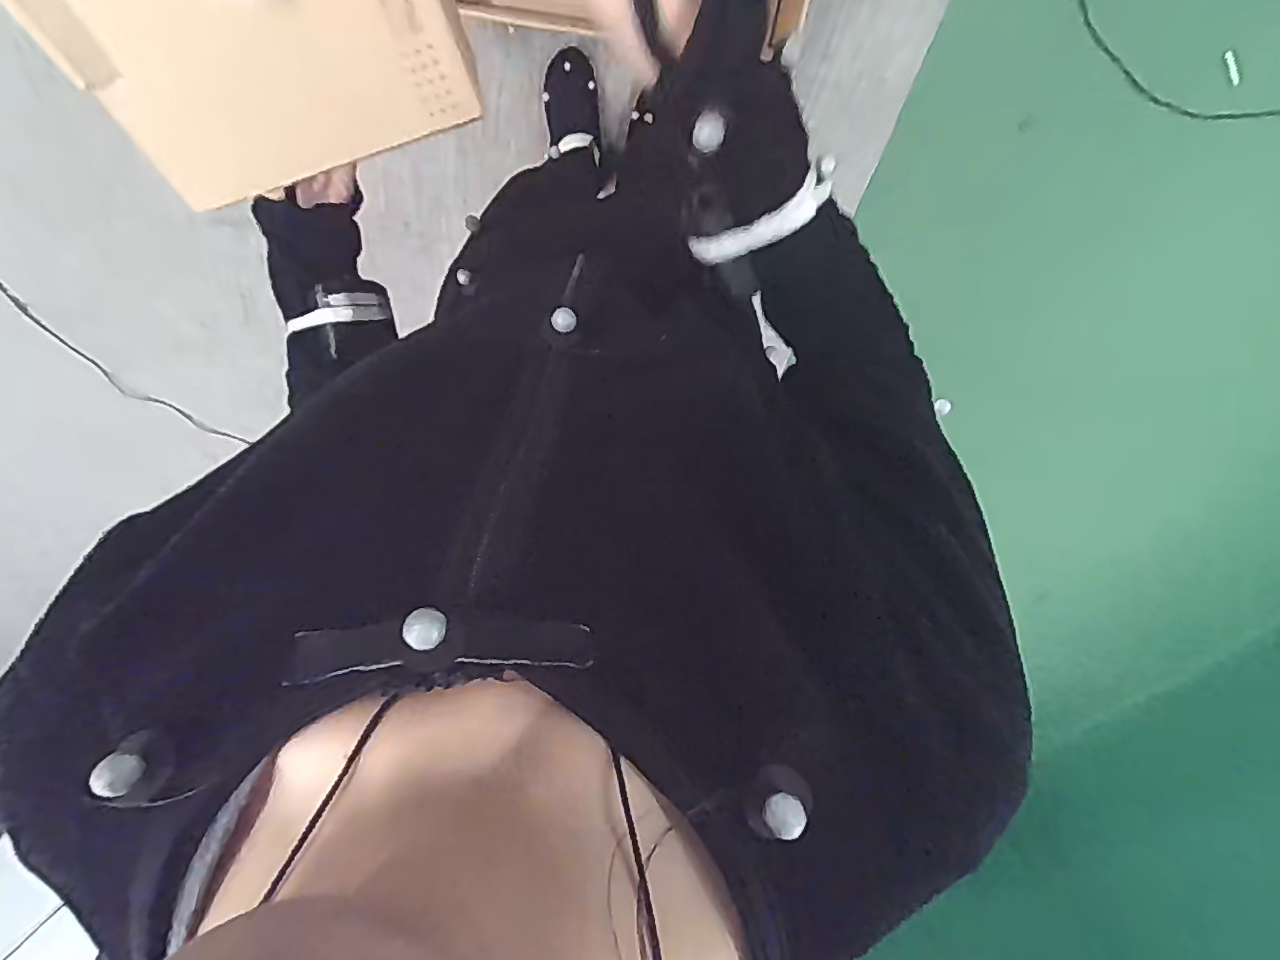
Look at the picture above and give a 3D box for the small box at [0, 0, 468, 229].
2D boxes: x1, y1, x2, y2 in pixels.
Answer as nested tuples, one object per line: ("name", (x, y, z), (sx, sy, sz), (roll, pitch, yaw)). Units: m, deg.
("small box", (-0.206, -0.273, 0.291), (0.176, 0.179, 0.168), (-18, 139, 0))
